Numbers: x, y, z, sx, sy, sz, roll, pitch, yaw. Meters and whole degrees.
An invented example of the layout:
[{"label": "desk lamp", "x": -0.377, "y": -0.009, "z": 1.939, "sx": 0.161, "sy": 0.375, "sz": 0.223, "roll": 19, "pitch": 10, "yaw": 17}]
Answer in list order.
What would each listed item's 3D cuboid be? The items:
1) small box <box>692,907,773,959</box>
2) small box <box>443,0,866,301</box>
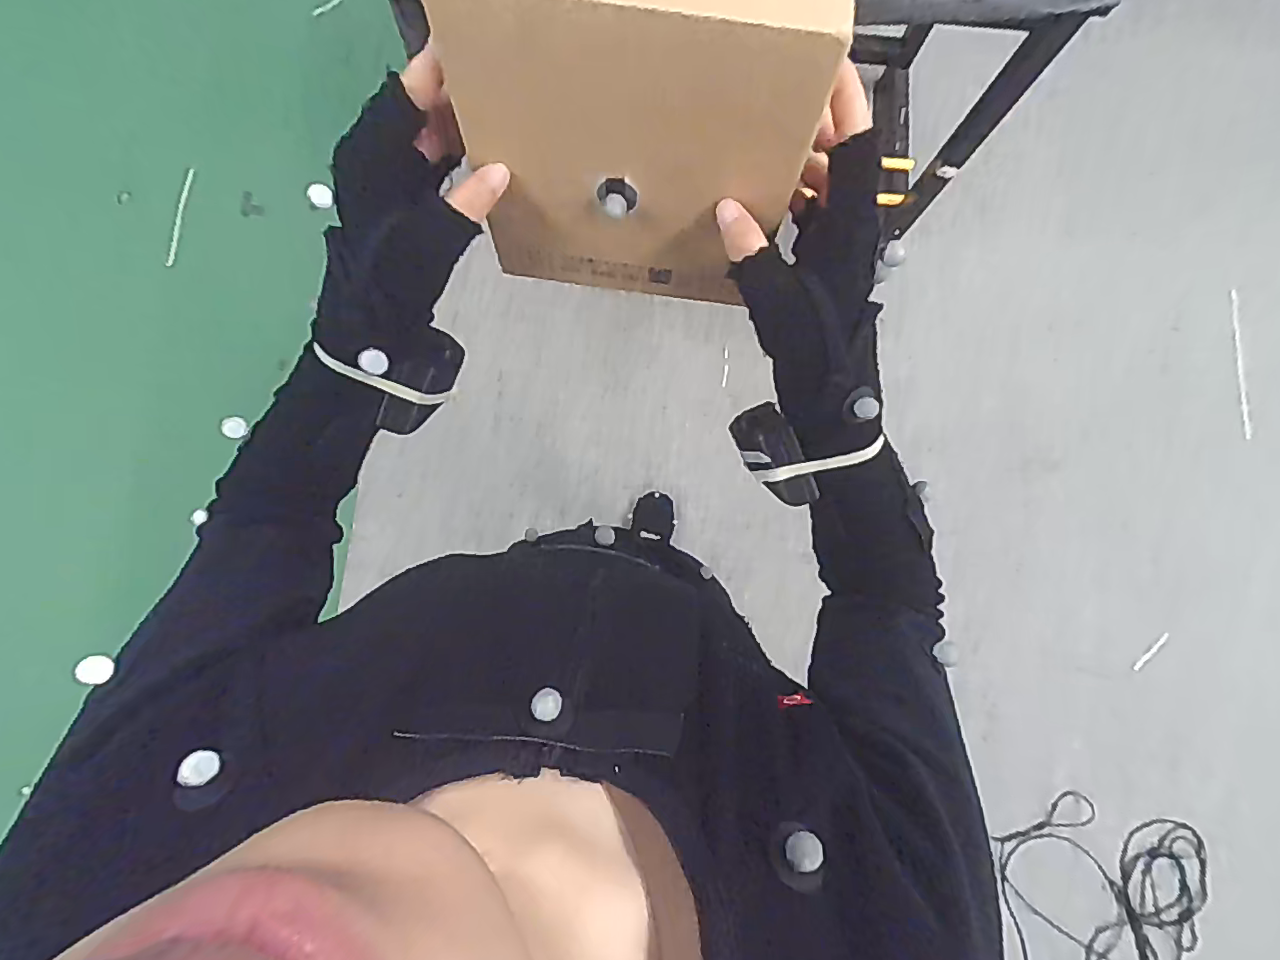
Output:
[{"label": "small box", "x": 0.217, "y": 1.162, "z": 1.280, "sx": 0.168, "sy": 0.176, "sz": 0.179, "roll": -1, "pitch": 81, "yaw": -2}, {"label": "small box", "x": 0.012, "y": -0.227, "z": 0.304, "sx": 0.168, "sy": 0.176, "sz": 0.179, "roll": 8, "pitch": 72, "yaw": -1}]
